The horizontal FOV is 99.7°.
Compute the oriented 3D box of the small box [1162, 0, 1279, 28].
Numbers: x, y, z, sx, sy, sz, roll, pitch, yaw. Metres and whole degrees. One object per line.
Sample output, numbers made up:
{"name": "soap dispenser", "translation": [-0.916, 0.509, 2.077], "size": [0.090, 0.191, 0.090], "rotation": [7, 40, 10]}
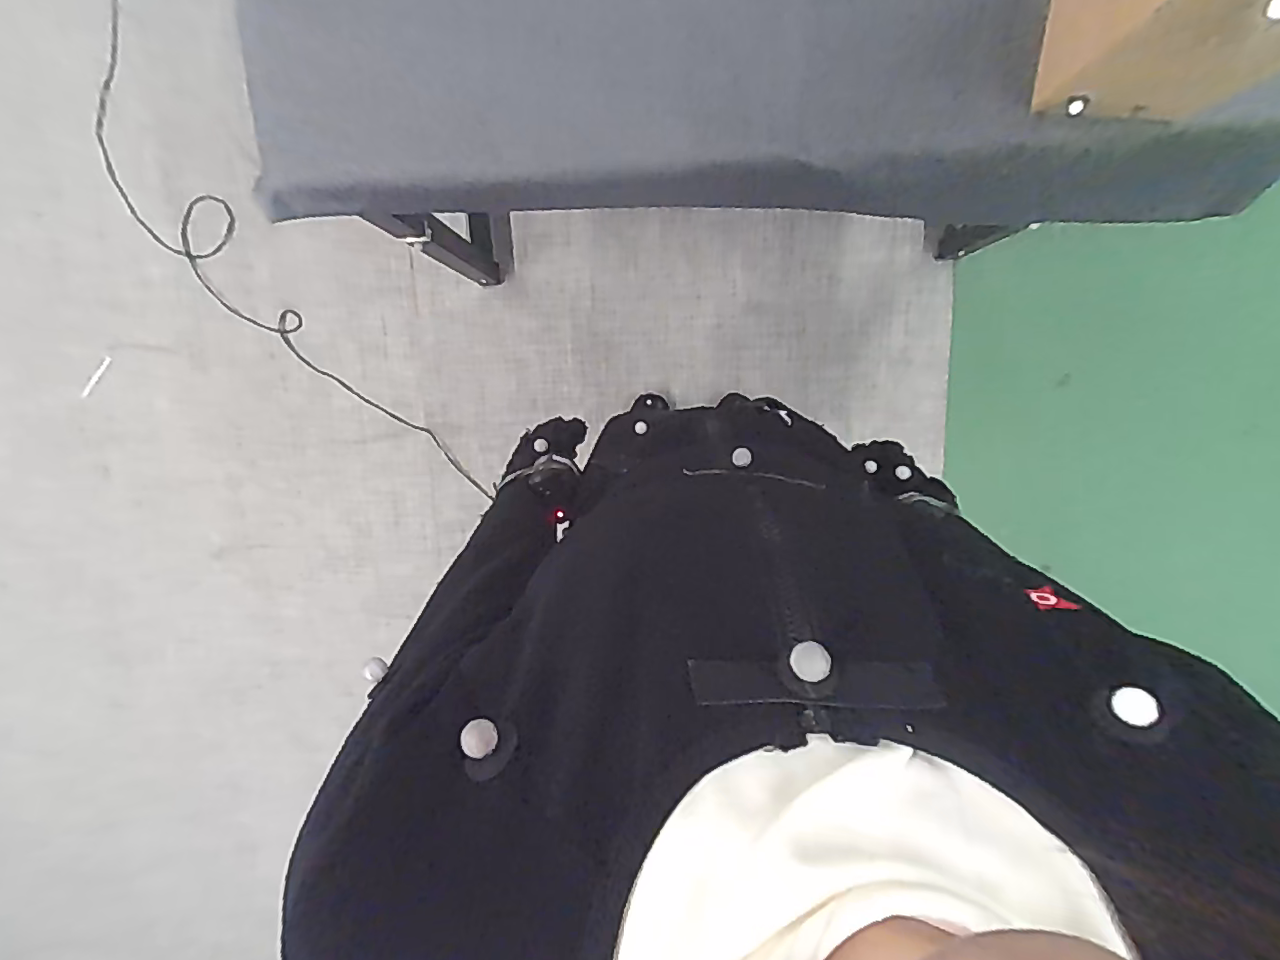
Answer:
{"name": "small box", "translation": [0.512, -0.454, 0.360], "size": [0.168, 0.176, 0.179], "rotation": [7, 101, 3]}

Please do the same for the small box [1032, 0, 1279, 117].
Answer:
{"name": "small box", "translation": [0.521, -0.484, 0.518], "size": [0.168, 0.176, 0.179], "rotation": [6, 98, 2]}
